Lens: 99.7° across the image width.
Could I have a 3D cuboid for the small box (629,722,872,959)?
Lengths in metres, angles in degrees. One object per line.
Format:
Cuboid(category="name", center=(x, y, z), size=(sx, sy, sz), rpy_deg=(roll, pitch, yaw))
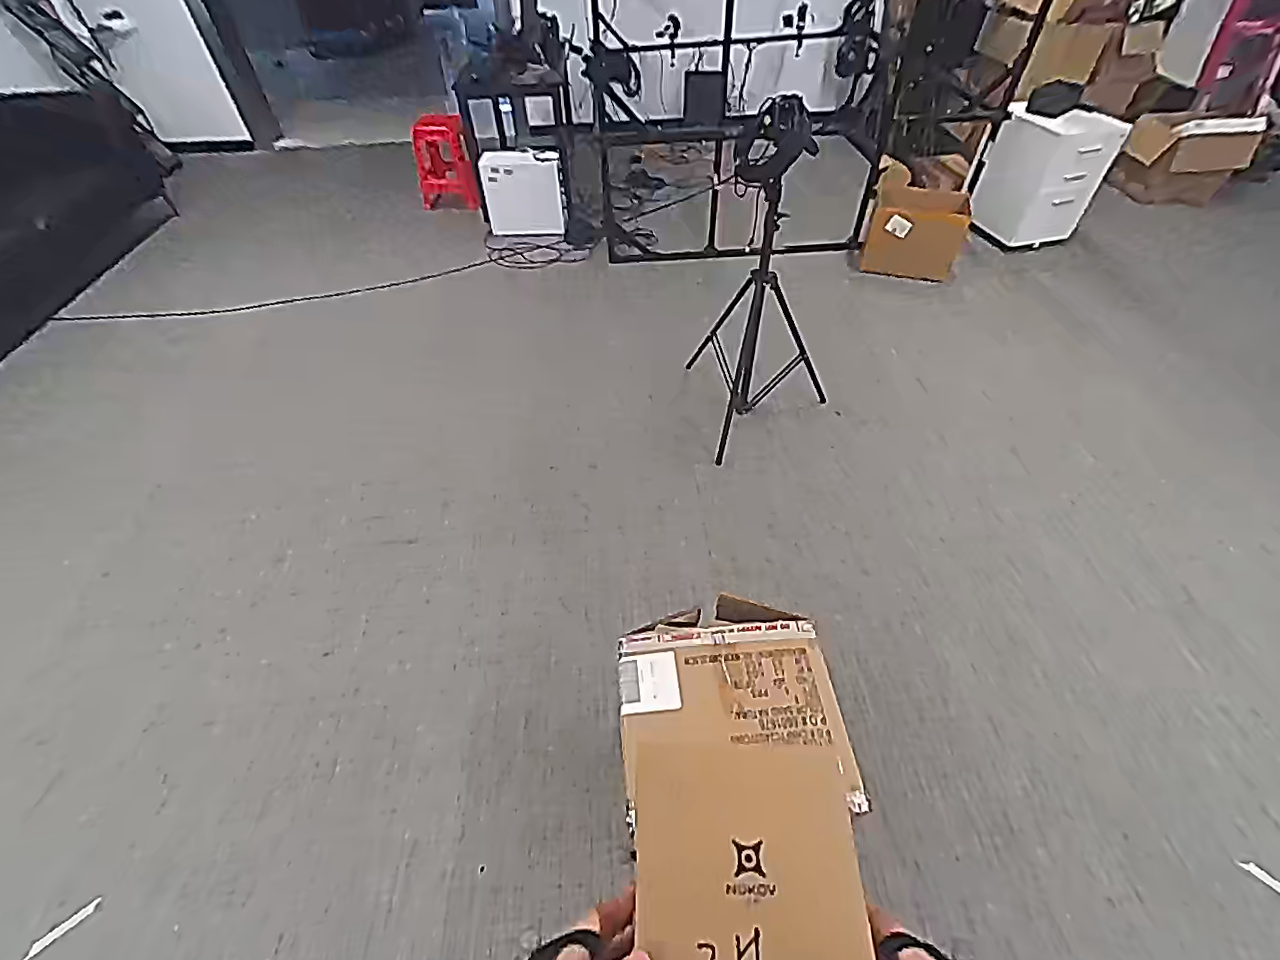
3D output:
Cuboid(category="small box", center=(0.077, 0.324, 0.465), size=(0.168, 0.176, 0.179), rpy_deg=(2, 53, 1))
